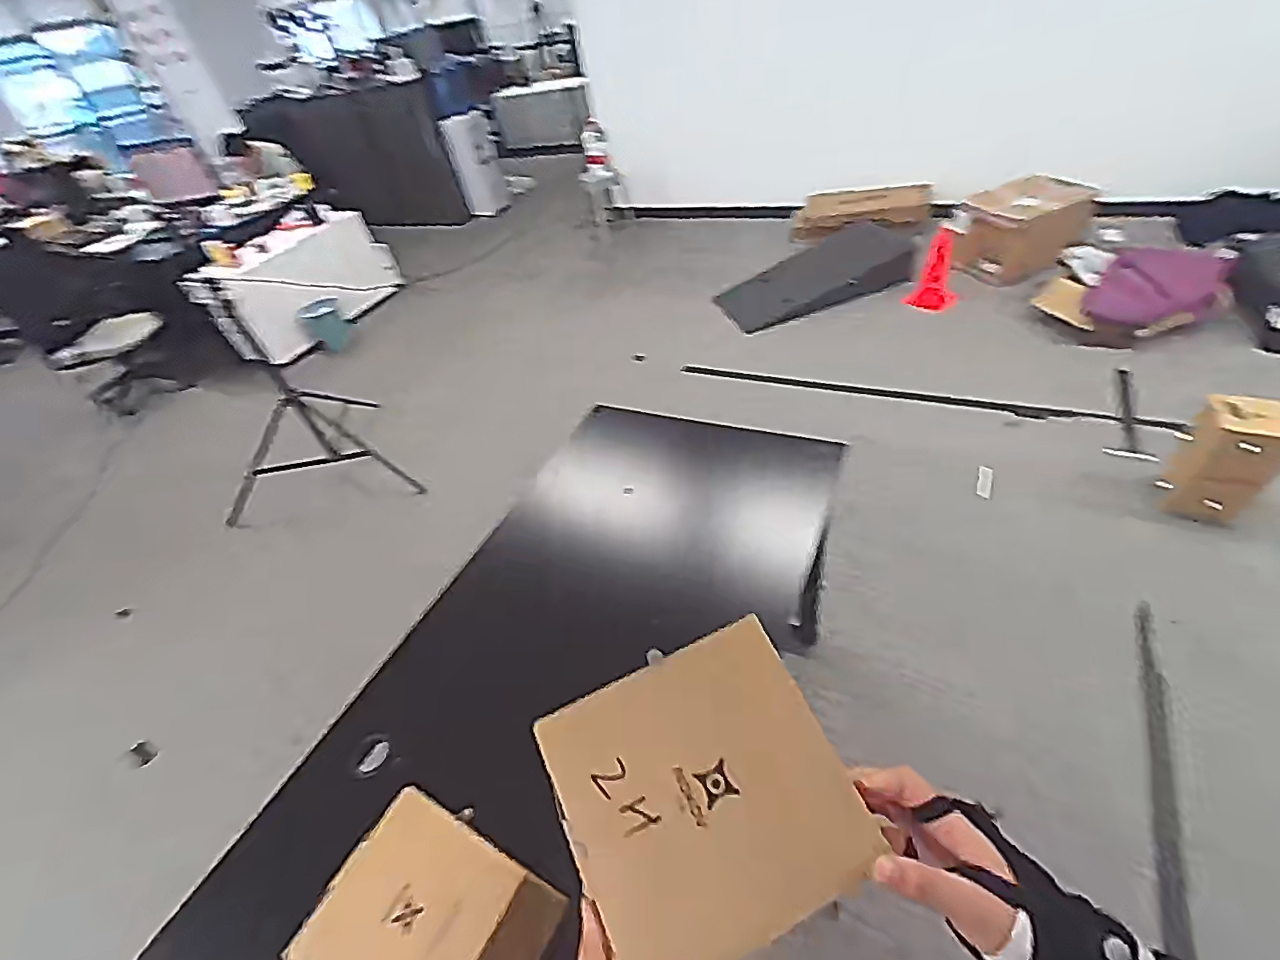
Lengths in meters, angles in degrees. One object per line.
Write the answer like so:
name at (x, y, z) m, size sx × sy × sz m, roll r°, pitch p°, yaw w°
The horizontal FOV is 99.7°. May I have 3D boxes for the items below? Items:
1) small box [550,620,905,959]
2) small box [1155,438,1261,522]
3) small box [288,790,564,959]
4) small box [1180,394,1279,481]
small box at (0.050, 0.232, 0.411) m, size 0.179 × 0.176 × 0.168 m, roll -22°, pitch 63°, yaw -9°
small box at (1.712, 0.001, 1.641) m, size 0.168 × 0.176 × 0.179 m, roll 15°, pitch 51°, yaw 26°
small box at (-0.209, 0.472, 0.571) m, size 0.179 × 0.176 × 0.168 m, roll 15°, pitch 51°, yaw 26°
small box at (1.681, -0.118, 1.529) m, size 0.179 × 0.176 × 0.168 m, roll 14°, pitch 50°, yaw 24°
